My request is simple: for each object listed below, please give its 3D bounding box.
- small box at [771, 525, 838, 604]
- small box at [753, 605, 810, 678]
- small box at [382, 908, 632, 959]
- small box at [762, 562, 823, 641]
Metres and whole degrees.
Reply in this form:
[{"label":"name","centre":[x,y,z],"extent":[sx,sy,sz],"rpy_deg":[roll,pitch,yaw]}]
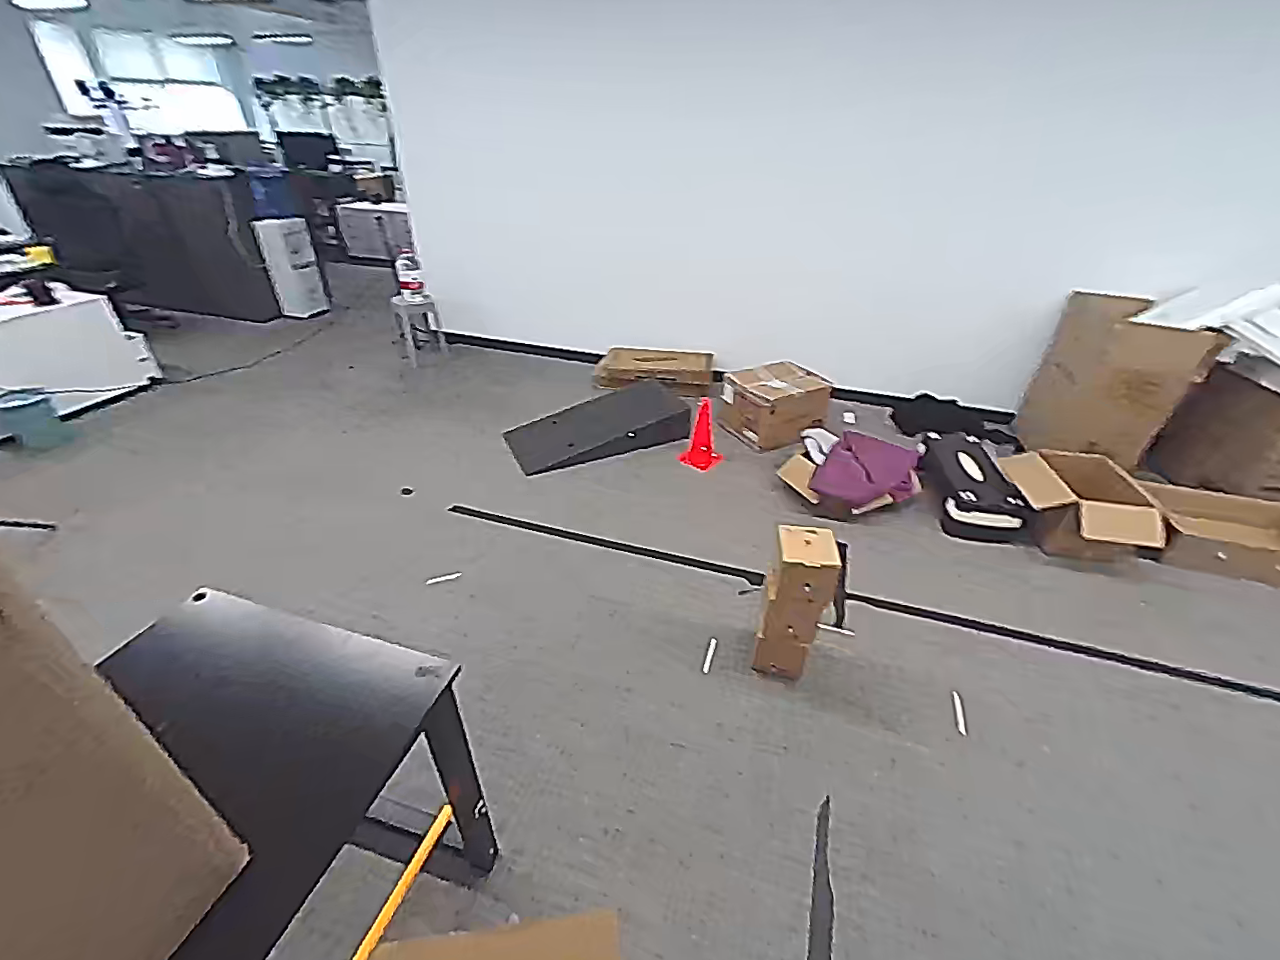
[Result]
[{"label":"small box","centre":[0.501,0.261,1.665],"extent":[0.168,0.176,0.179],"rpy_deg":[4,34,7]},{"label":"small box","centre":[0.481,0.538,1.841],"extent":[0.168,0.176,0.179],"rpy_deg":[8,35,12]},{"label":"small box","centre":[-0.093,0.438,0.391],"extent":[0.179,0.176,0.168],"rpy_deg":[0,44,-11]},{"label":"small box","centre":[0.489,0.394,1.760],"extent":[0.168,0.176,0.179],"rpy_deg":[5,34,8]}]
